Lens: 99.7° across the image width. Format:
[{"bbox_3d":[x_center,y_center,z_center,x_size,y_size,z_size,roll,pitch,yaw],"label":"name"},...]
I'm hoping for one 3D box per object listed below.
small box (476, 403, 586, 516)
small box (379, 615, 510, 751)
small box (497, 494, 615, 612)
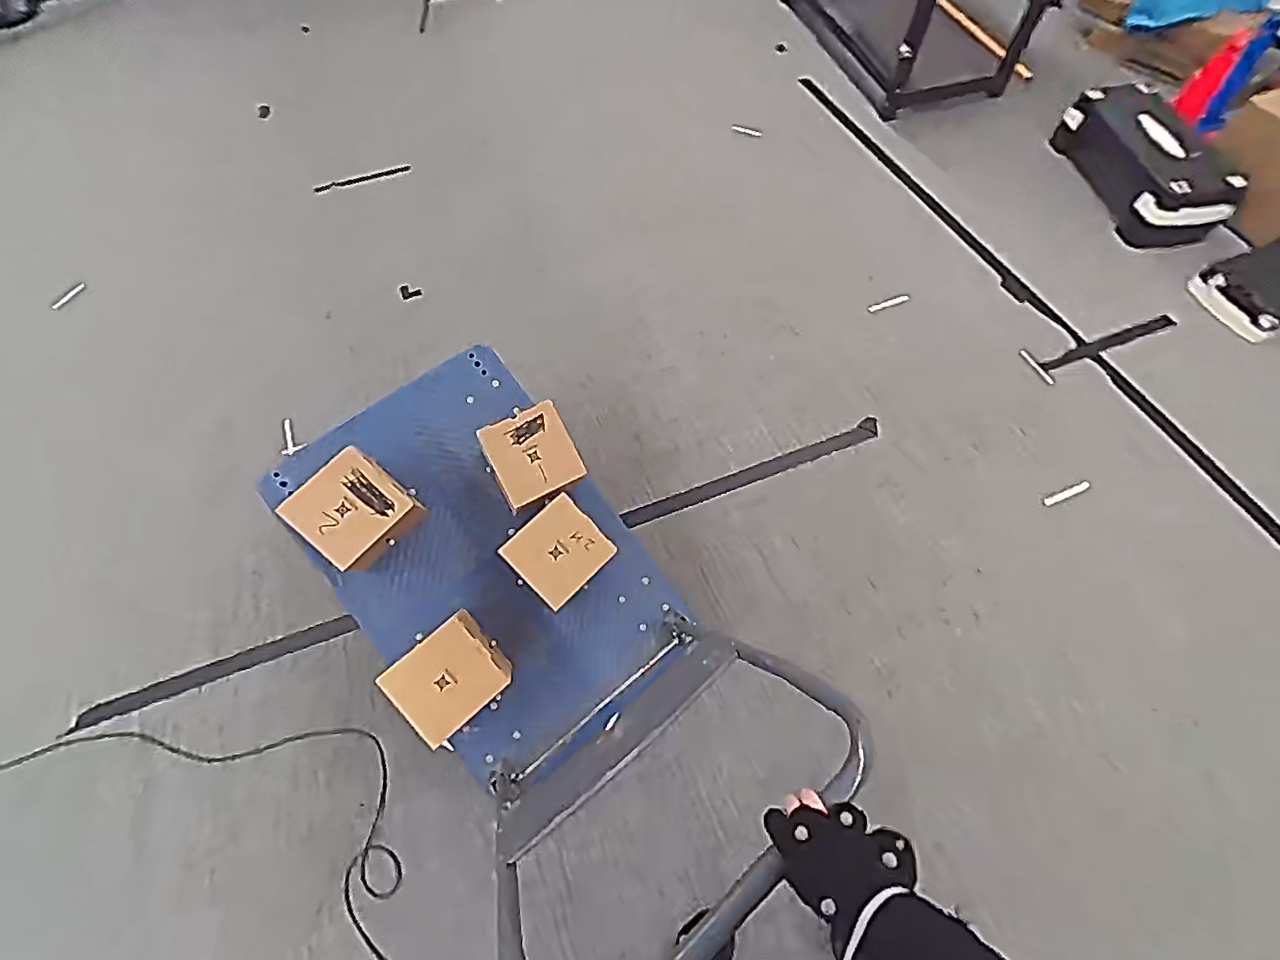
[{"bbox_3d":[-0.236,-0.037,1.164,0.168,0.176,0.179,-28,88,-15],"label":"small box"},{"bbox_3d":[-0.372,0.387,1.064,0.179,0.176,0.168,-41,91,-17],"label":"small box"},{"bbox_3d":[-0.177,0.156,1.144,0.179,0.176,0.168,-44,92,-15],"label":"small box"}]
